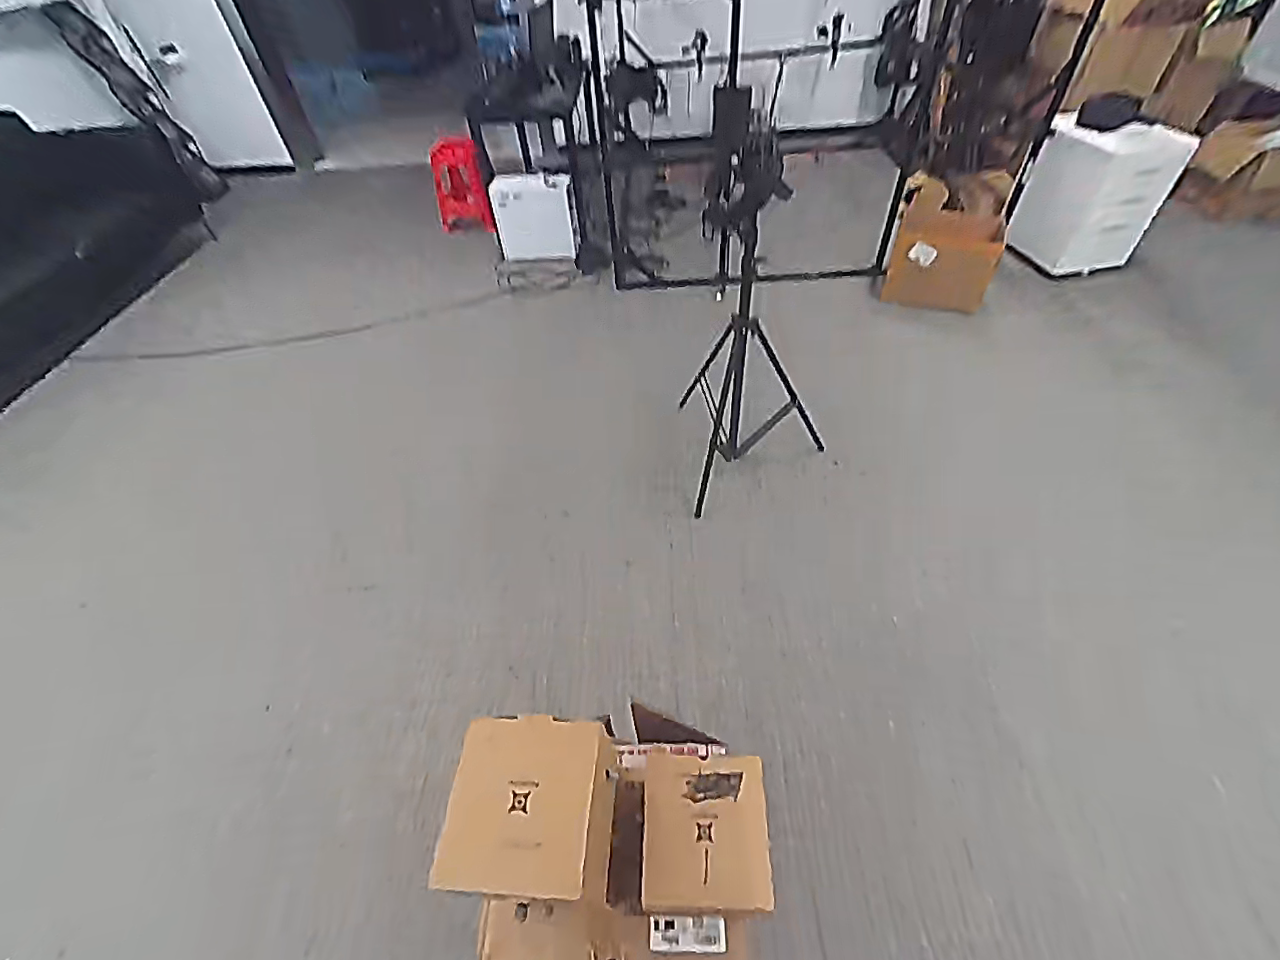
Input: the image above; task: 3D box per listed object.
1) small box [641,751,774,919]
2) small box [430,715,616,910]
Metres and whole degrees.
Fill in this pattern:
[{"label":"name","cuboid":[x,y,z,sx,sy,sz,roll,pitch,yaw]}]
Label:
[{"label":"small box","cuboid":[0.088,0.510,0.776,0.168,0.176,0.179,1,49,3]},{"label":"small box","cuboid":[-0.125,0.408,0.664,0.168,0.176,0.179,-2,50,7]}]
